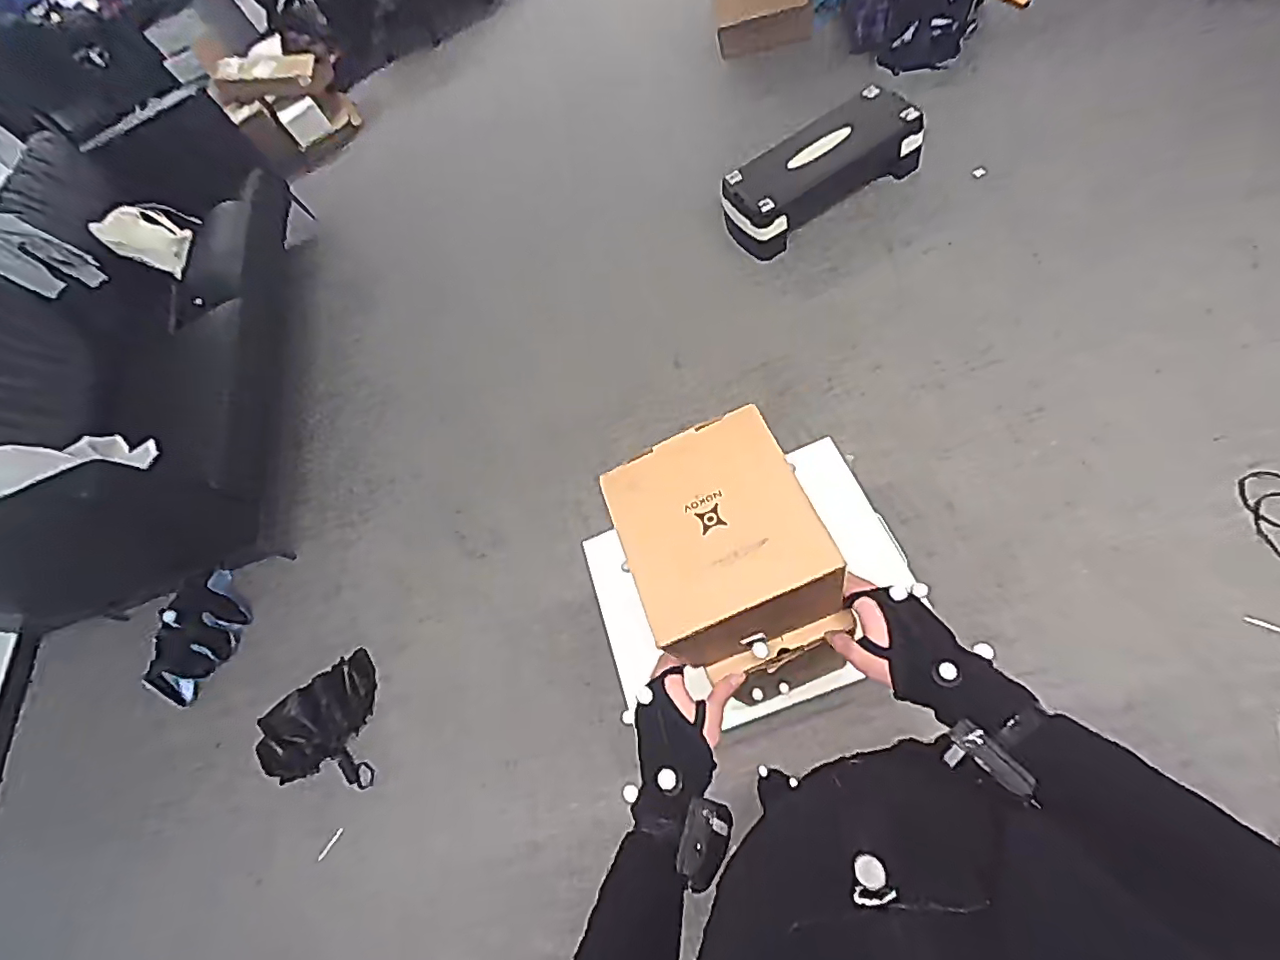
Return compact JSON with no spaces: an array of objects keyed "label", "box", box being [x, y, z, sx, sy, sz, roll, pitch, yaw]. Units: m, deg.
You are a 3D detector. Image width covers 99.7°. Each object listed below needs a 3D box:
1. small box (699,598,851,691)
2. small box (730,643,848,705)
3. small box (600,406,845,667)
[{"label":"small box","box":[0.142,0.147,0.668,0.168,0.176,0.179,-25,58,5]},{"label":"small box","box":[0.189,0.218,0.811,0.168,0.176,0.179,-27,59,5]},{"label":"small box","box":[0.083,0.066,0.540,0.168,0.176,0.179,-26,60,5]}]
